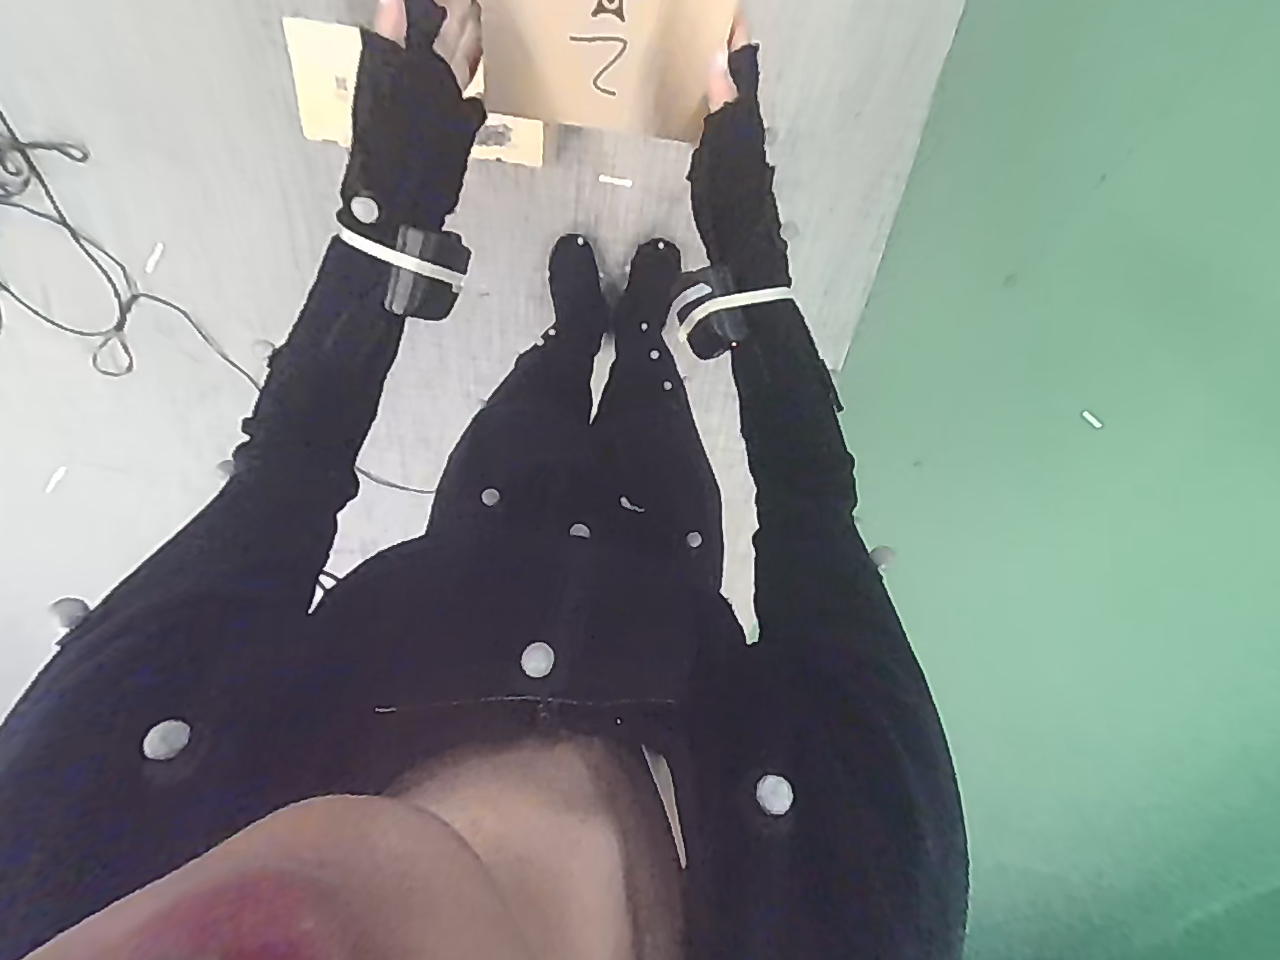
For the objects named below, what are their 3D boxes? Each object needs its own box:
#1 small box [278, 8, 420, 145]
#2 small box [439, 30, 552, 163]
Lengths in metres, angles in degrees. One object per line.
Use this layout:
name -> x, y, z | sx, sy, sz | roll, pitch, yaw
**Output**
small box -> -0.526, -0.737, 1.005 | 0.168, 0.176, 0.179 | 7, 123, -2
small box -> -0.261, -0.709, 1.014 | 0.168, 0.176, 0.179 | 6, 122, -2
